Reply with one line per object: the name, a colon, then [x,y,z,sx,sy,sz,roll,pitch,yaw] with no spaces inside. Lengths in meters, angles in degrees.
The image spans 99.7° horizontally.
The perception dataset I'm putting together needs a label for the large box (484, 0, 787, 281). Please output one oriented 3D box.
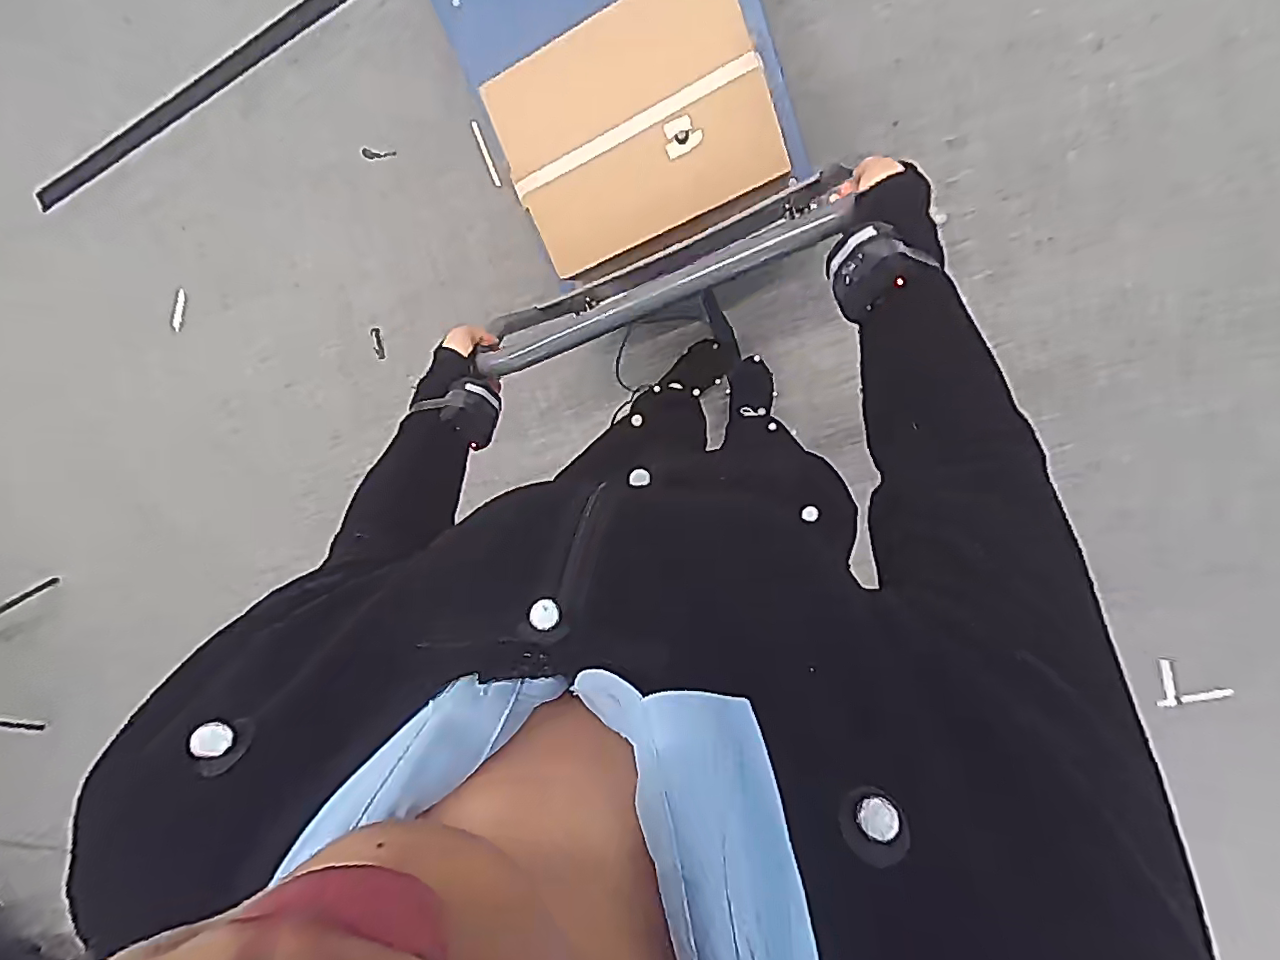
large box: [0.009,-0.594,0.978,0.408,0.320,0.320,-20,105,15]
